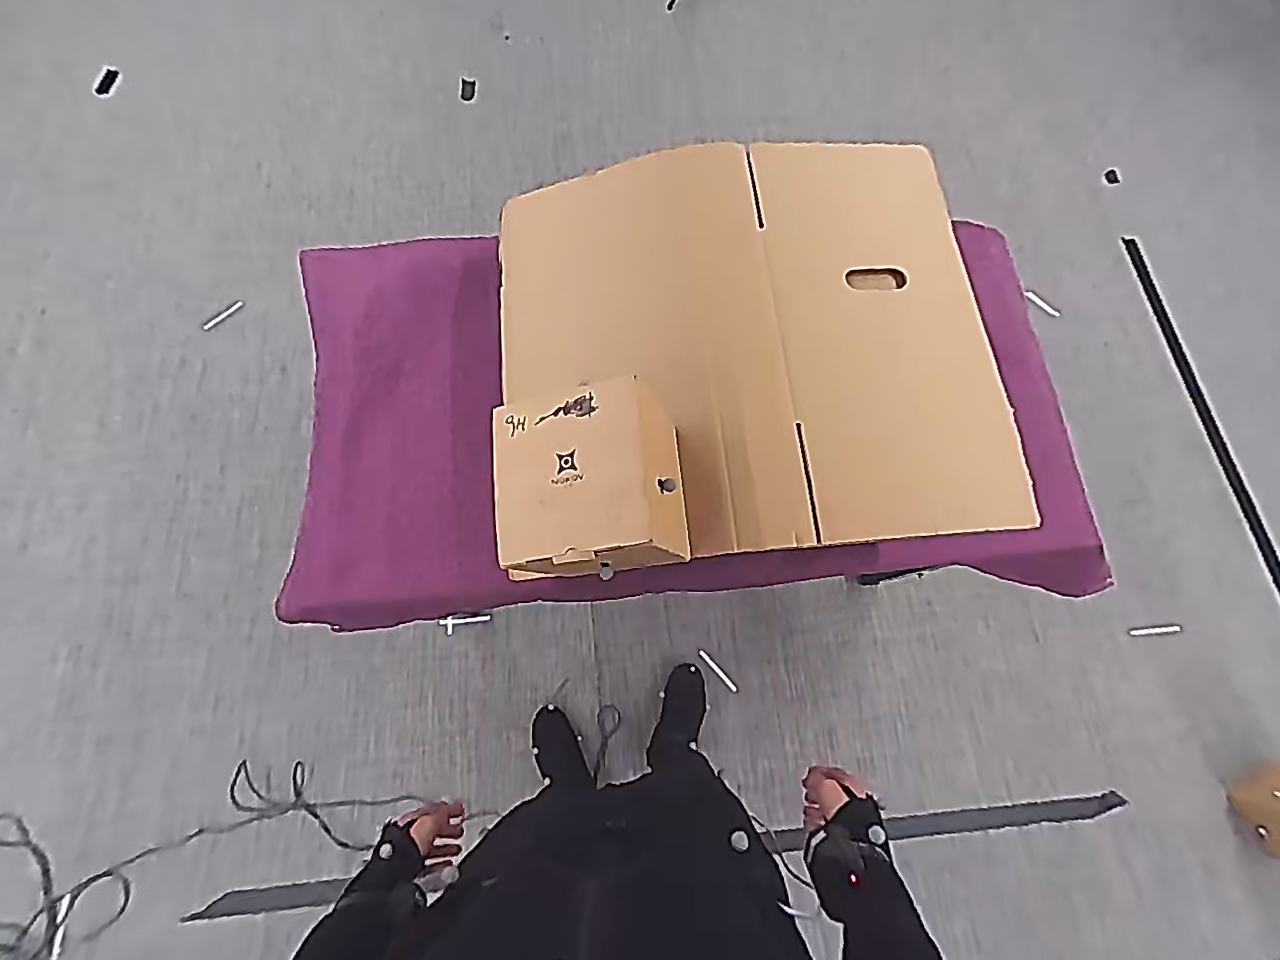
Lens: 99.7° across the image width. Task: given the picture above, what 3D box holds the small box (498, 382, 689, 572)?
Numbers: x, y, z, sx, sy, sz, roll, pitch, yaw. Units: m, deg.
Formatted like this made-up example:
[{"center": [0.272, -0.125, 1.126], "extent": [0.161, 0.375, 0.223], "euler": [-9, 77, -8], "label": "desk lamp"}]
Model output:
[{"center": [-0.046, 0.011, 0.625], "extent": [0.168, 0.176, 0.179], "euler": [-10, 75, 15], "label": "small box"}]
